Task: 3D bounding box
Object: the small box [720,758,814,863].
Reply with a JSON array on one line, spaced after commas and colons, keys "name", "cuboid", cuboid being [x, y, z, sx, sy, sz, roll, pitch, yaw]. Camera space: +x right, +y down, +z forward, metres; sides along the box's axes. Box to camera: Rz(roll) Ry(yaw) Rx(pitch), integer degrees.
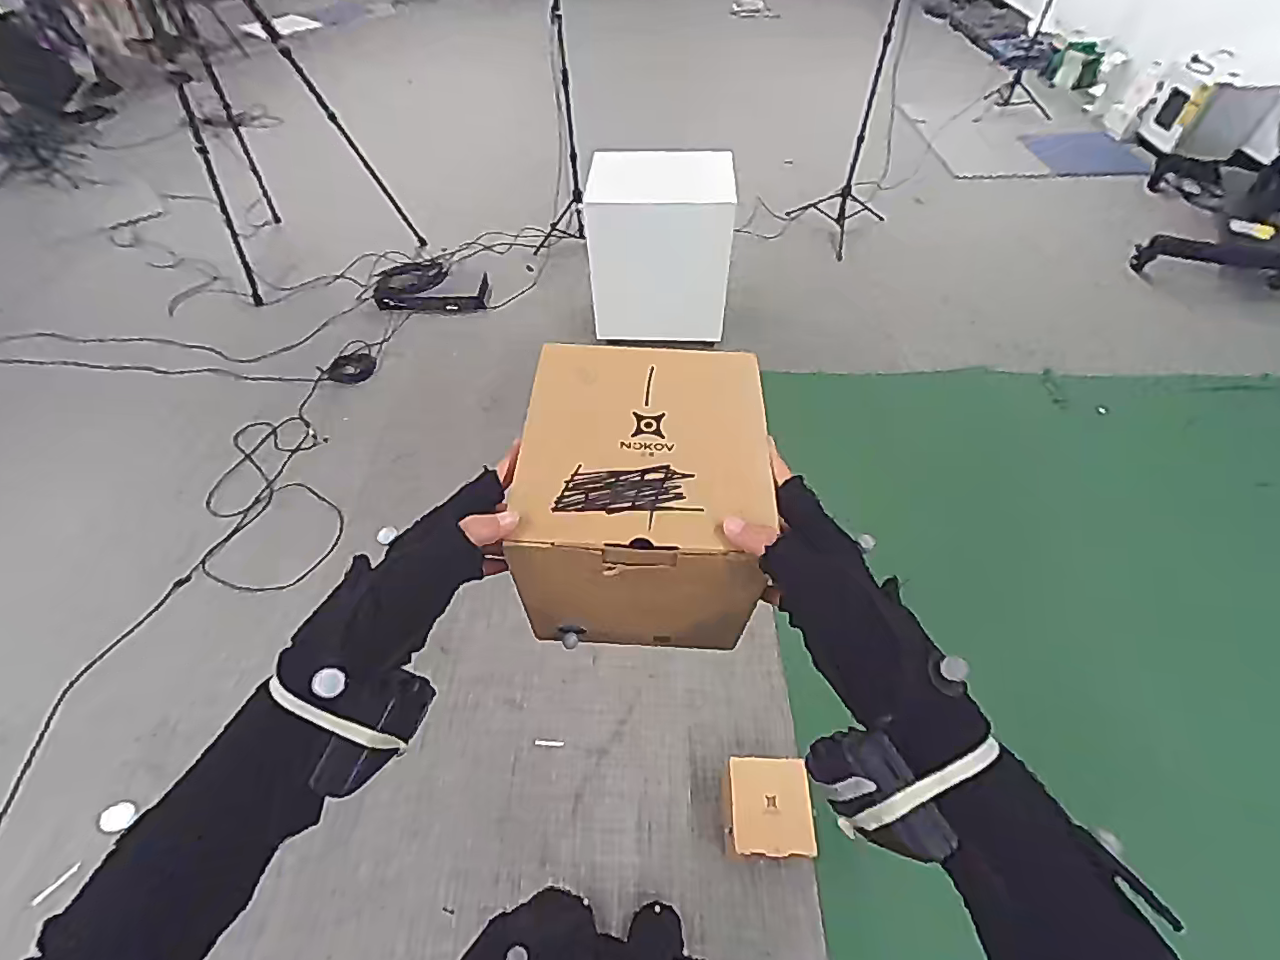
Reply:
[{"name": "small box", "cuboid": [0.269, 0.727, 1.189, 0.168, 0.176, 0.179, 0, 52, 2]}]
